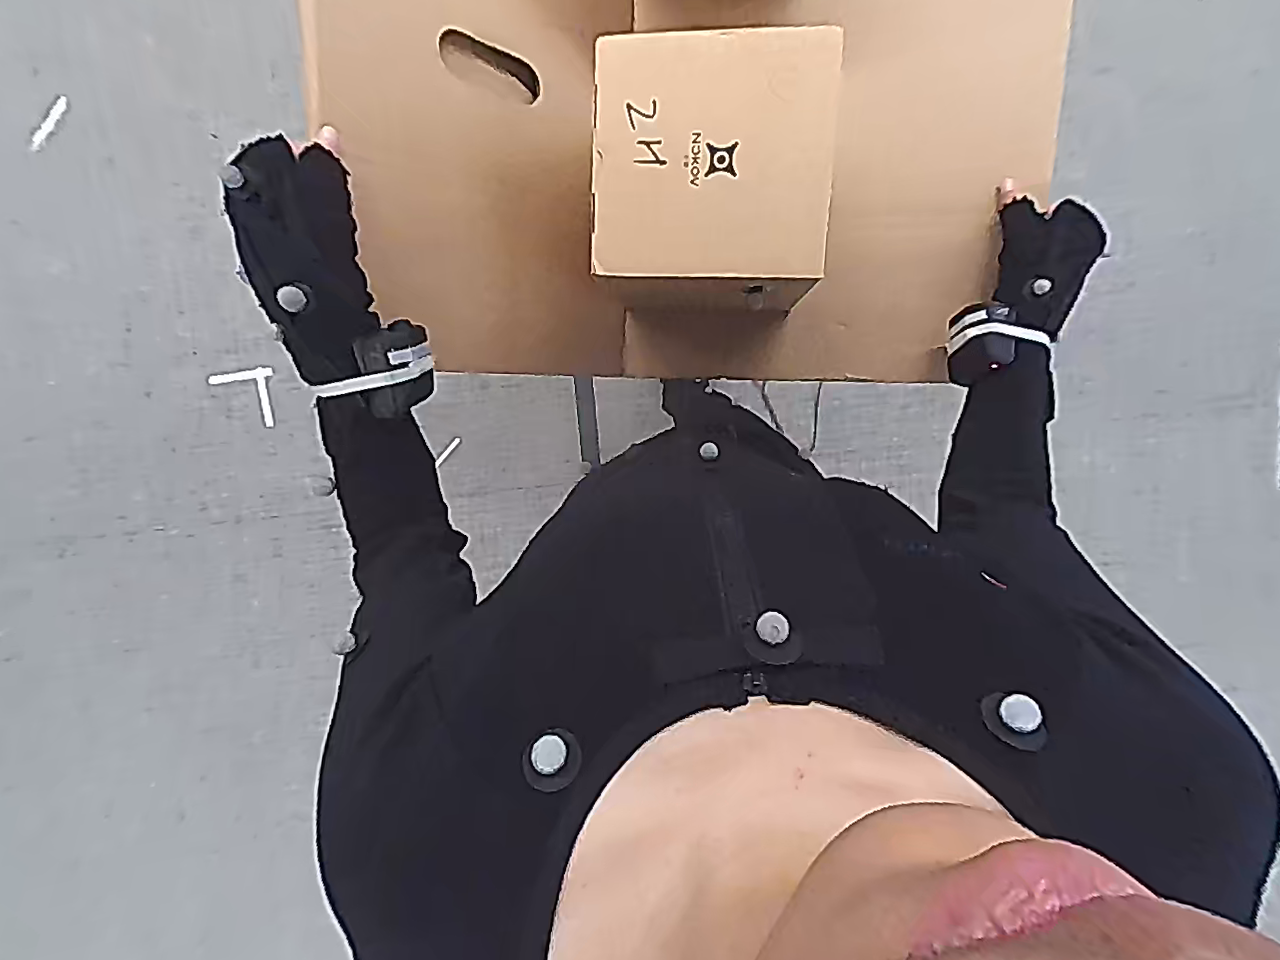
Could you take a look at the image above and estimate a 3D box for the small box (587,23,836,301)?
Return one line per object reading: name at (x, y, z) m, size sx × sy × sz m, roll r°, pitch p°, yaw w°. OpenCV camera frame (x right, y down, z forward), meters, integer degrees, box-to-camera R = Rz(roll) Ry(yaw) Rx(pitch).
small box at (0.058, -0.258, 0.479) m, size 0.179 × 0.176 × 0.168 m, roll 4°, pitch 100°, yaw 8°
